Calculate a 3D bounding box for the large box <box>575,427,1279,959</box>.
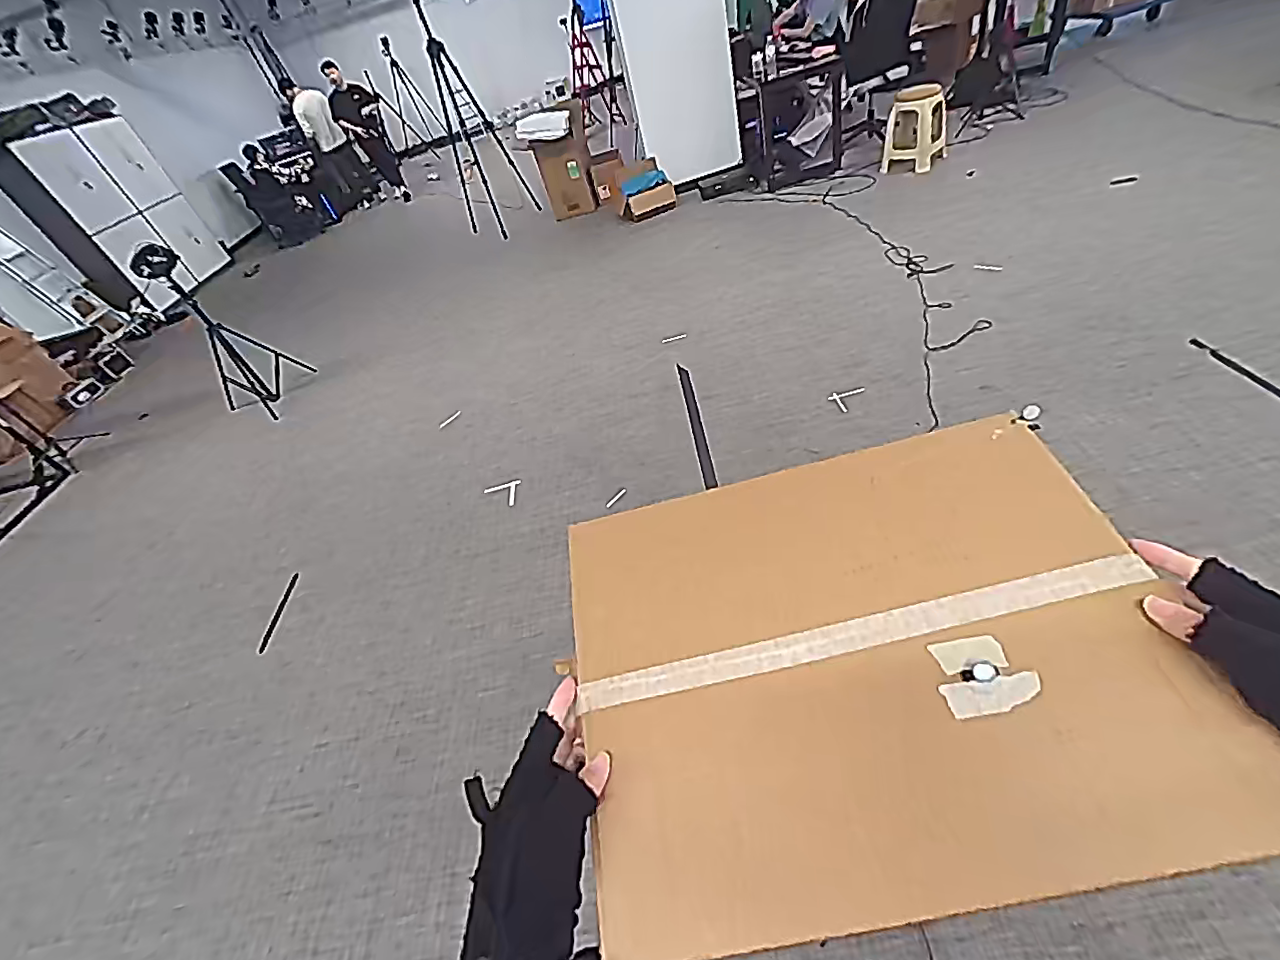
[{"bbox_3d":[0.183,0.208,0.516,0.408,0.320,0.320,-15,52,4],"label":"large box"}]
